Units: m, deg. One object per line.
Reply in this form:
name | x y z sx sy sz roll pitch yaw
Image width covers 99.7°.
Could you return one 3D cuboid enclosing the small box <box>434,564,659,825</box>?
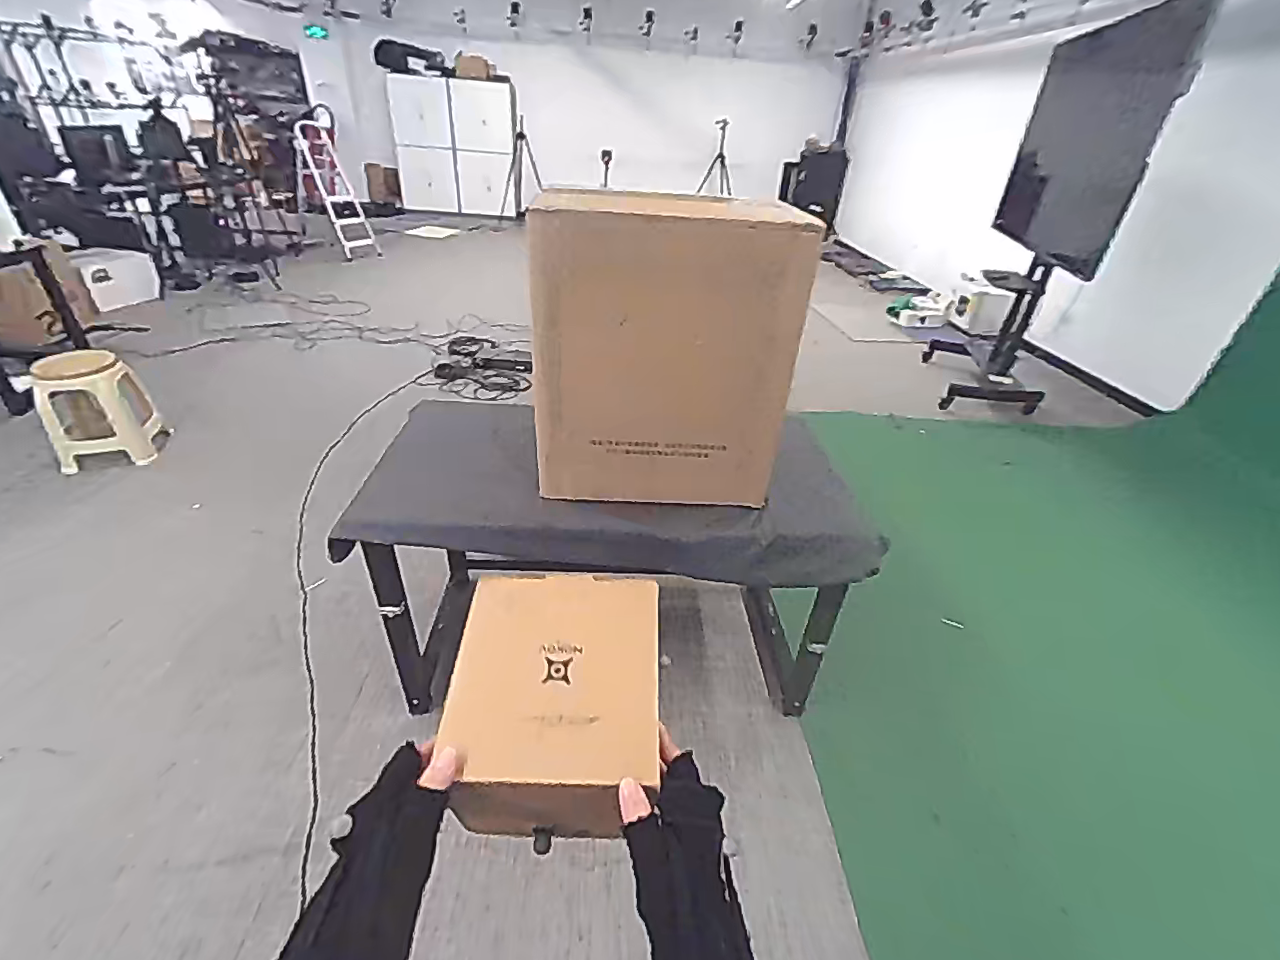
small box | -0.068 0.198 0.503 0.168 0.176 0.179 1 46 0
